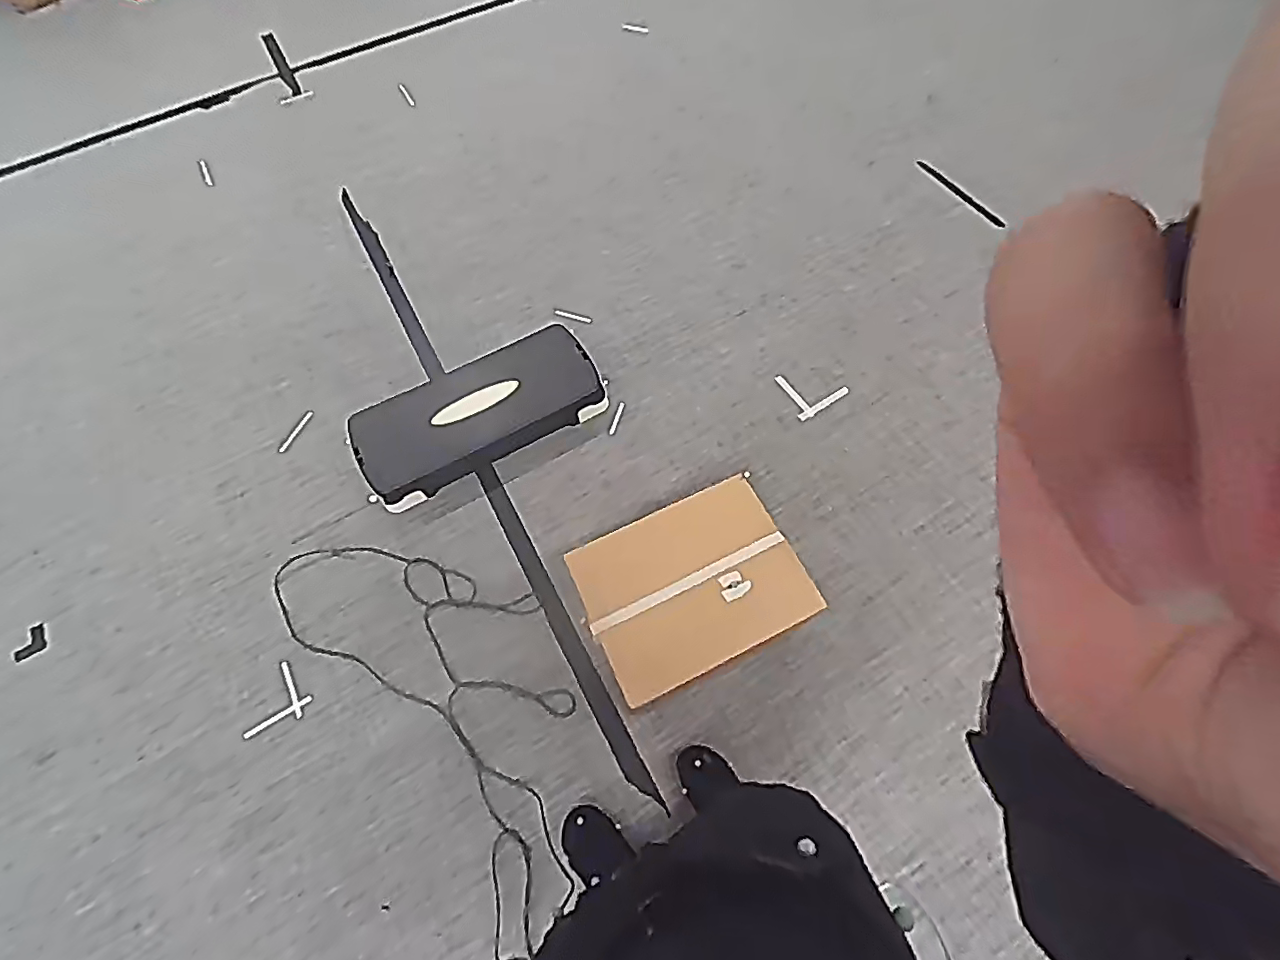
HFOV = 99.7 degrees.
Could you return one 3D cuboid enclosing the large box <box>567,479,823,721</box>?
[{"bbox_3d":[0.101,0.266,1.155,0.408,0.320,0.320,-24,67,-11],"label":"large box"}]
